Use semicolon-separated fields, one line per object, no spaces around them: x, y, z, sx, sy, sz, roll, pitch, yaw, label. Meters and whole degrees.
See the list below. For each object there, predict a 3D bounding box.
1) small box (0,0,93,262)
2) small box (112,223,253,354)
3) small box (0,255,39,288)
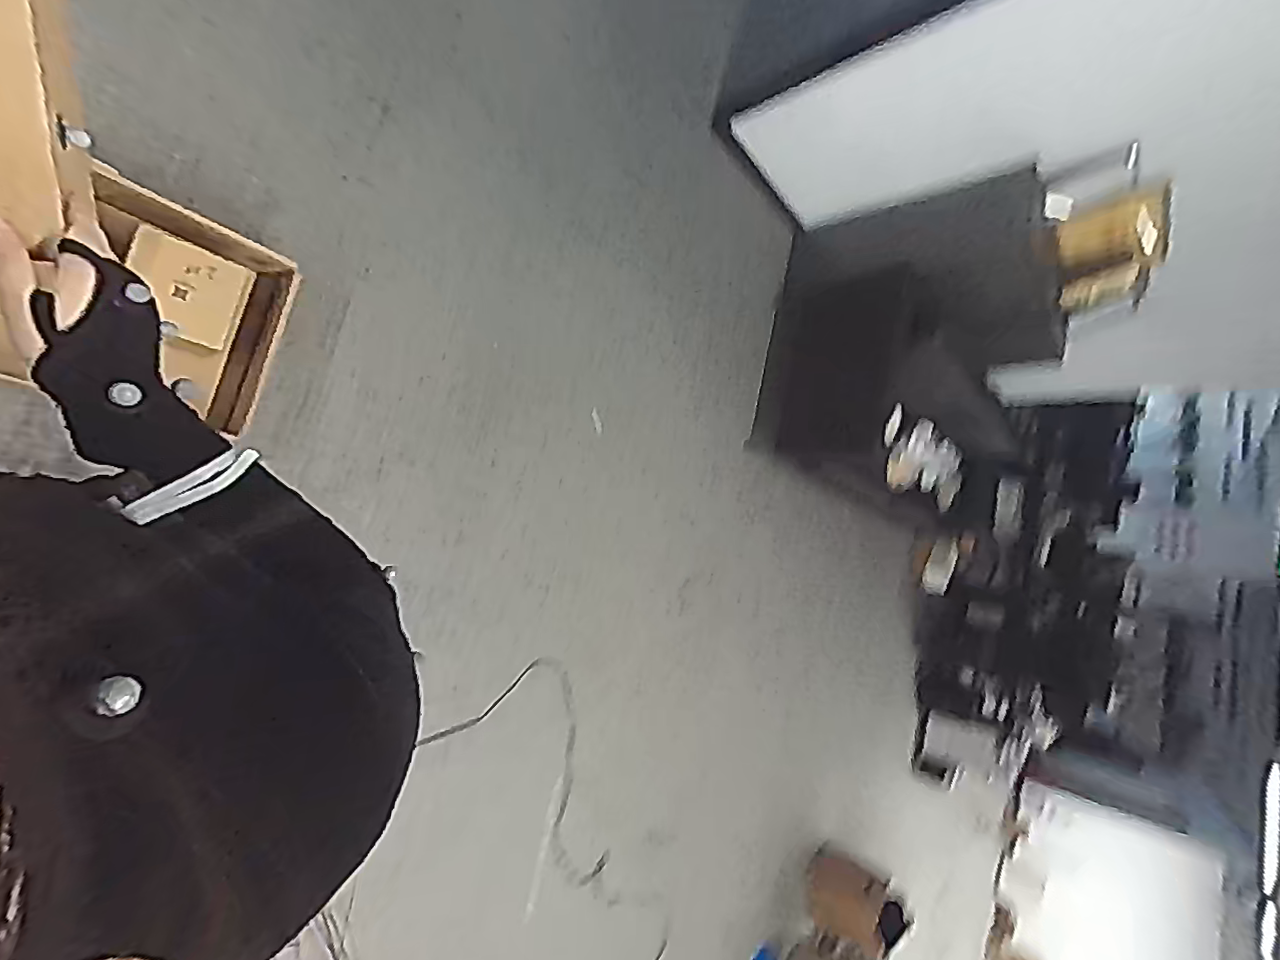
-0.463;-0.253;0.325;0.168;0.176;0.179;-6;123;-38;small box
-0.902;-0.363;1.066;0.168;0.176;0.179;22;79;-45;small box
-1.083;-0.438;0.875;0.168;0.176;0.179;27;74;-45;small box
